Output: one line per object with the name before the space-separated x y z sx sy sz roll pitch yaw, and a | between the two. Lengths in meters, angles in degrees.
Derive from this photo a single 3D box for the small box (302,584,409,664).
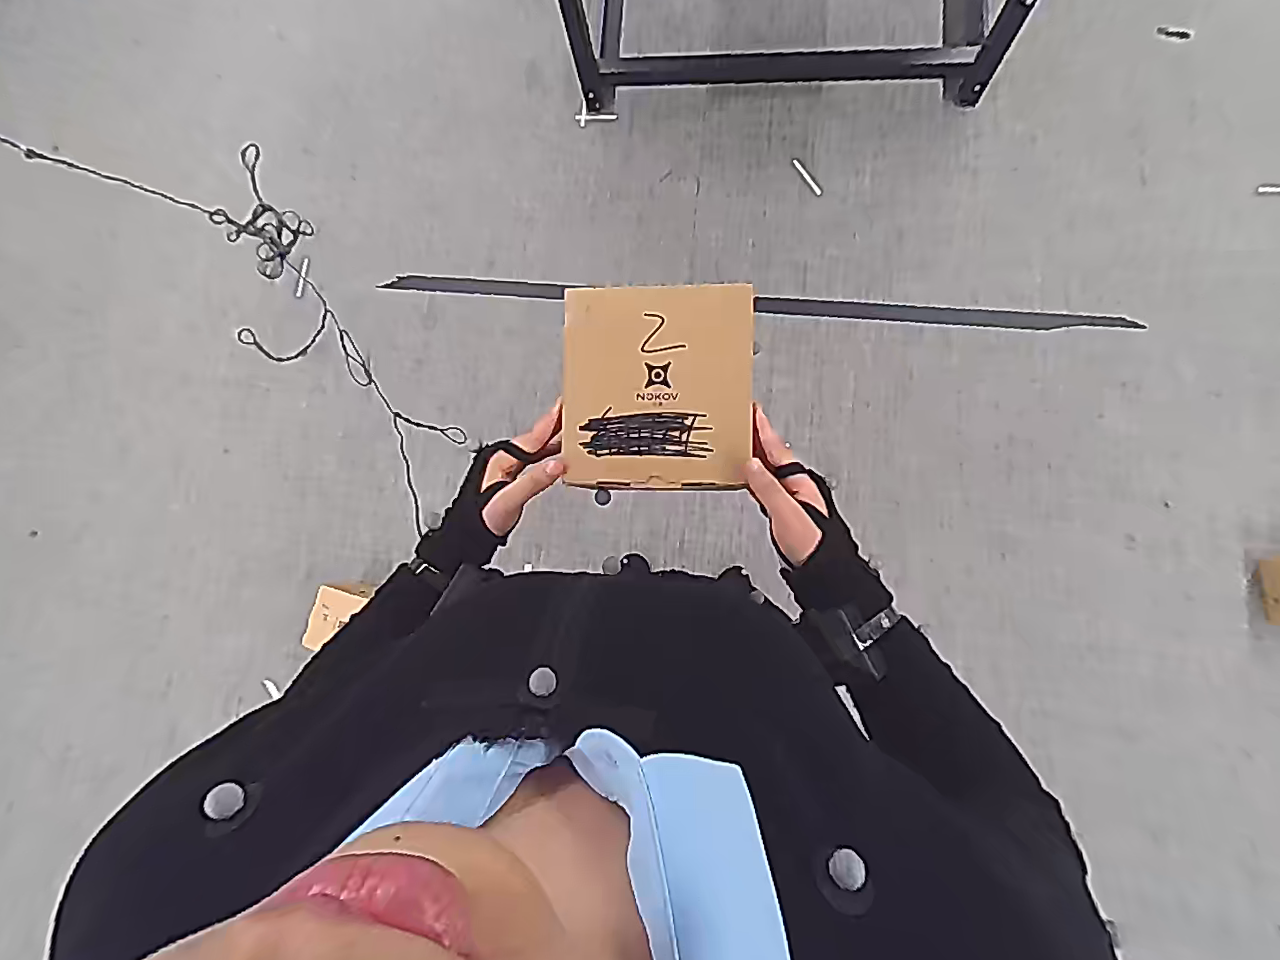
small box | -0.775 0.388 1.491 0.179 0.176 0.168 14 83 9

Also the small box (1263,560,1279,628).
small box | 1.605 0.265 1.240 0.179 0.176 0.168 -2 81 6
